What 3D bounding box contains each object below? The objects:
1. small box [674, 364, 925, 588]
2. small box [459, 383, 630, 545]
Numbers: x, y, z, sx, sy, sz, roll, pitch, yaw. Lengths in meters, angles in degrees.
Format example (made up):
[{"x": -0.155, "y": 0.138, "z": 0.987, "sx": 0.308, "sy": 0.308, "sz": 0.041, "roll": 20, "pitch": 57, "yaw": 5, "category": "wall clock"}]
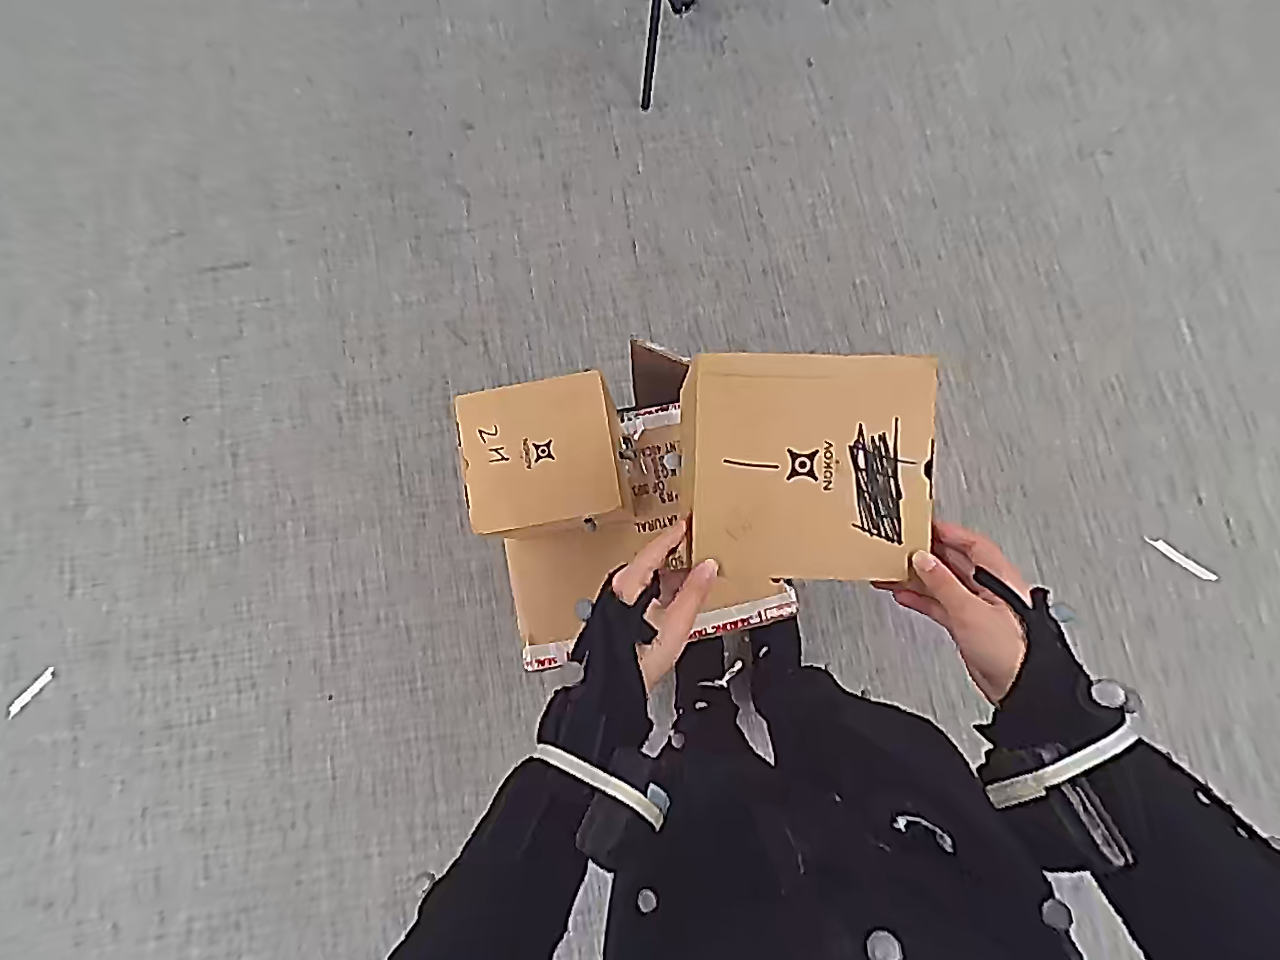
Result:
[{"x": 0.124, "y": -0.003, "z": 0.481, "sx": 0.179, "sy": 0.176, "sz": 0.168, "roll": 1, "pitch": 89, "yaw": 1, "category": "small box"}, {"x": -0.110, "y": -0.010, "z": 0.697, "sx": 0.179, "sy": 0.176, "sz": 0.168, "roll": -10, "pitch": 81, "yaw": 2, "category": "small box"}]
